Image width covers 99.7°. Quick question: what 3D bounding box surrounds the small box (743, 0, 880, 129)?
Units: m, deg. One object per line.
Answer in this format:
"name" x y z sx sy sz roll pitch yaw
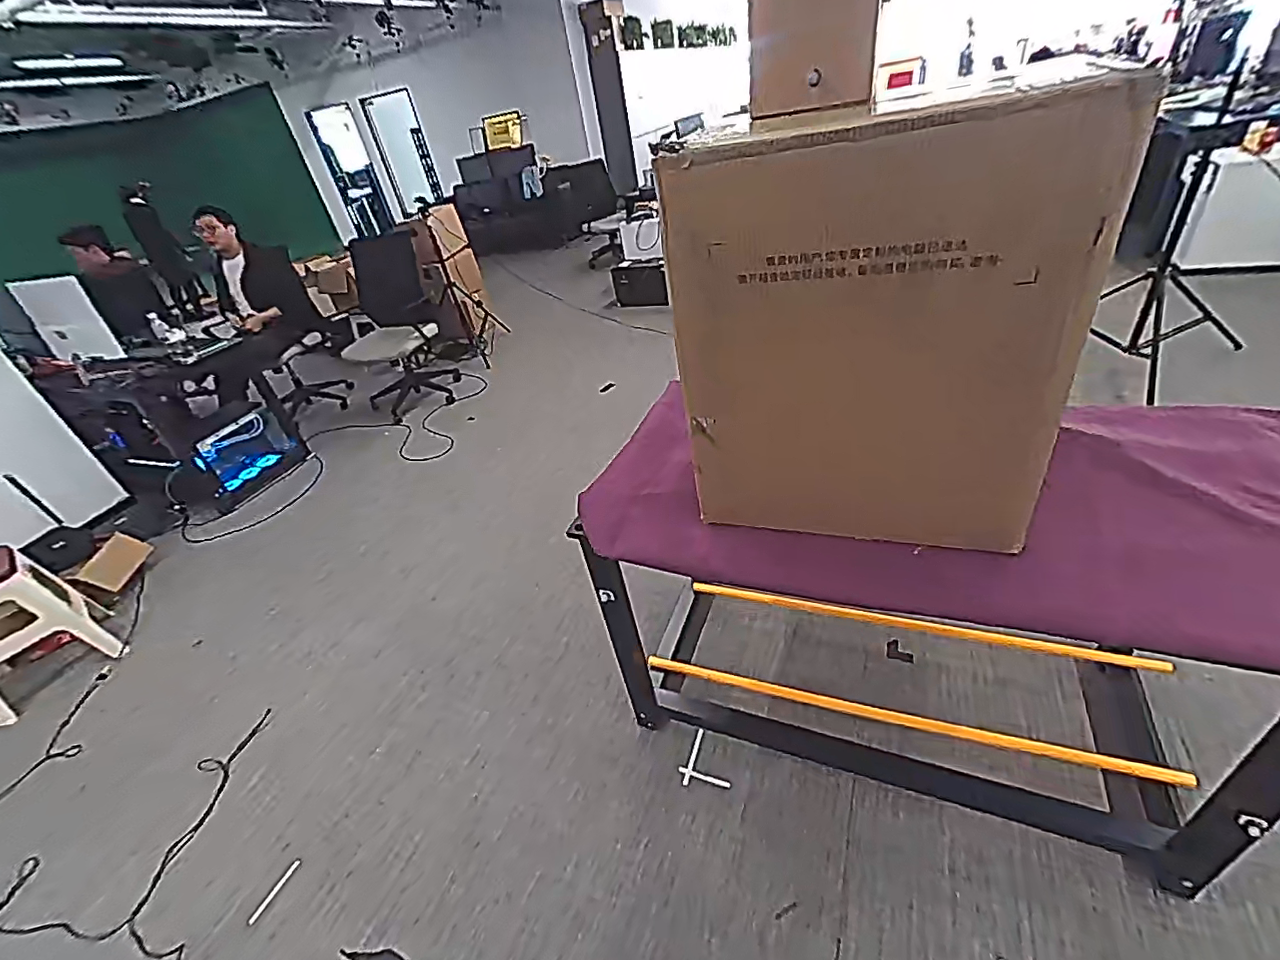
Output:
"small box" 0.255 -0.641 0.805 0.179 0.176 0.168 6 39 23
